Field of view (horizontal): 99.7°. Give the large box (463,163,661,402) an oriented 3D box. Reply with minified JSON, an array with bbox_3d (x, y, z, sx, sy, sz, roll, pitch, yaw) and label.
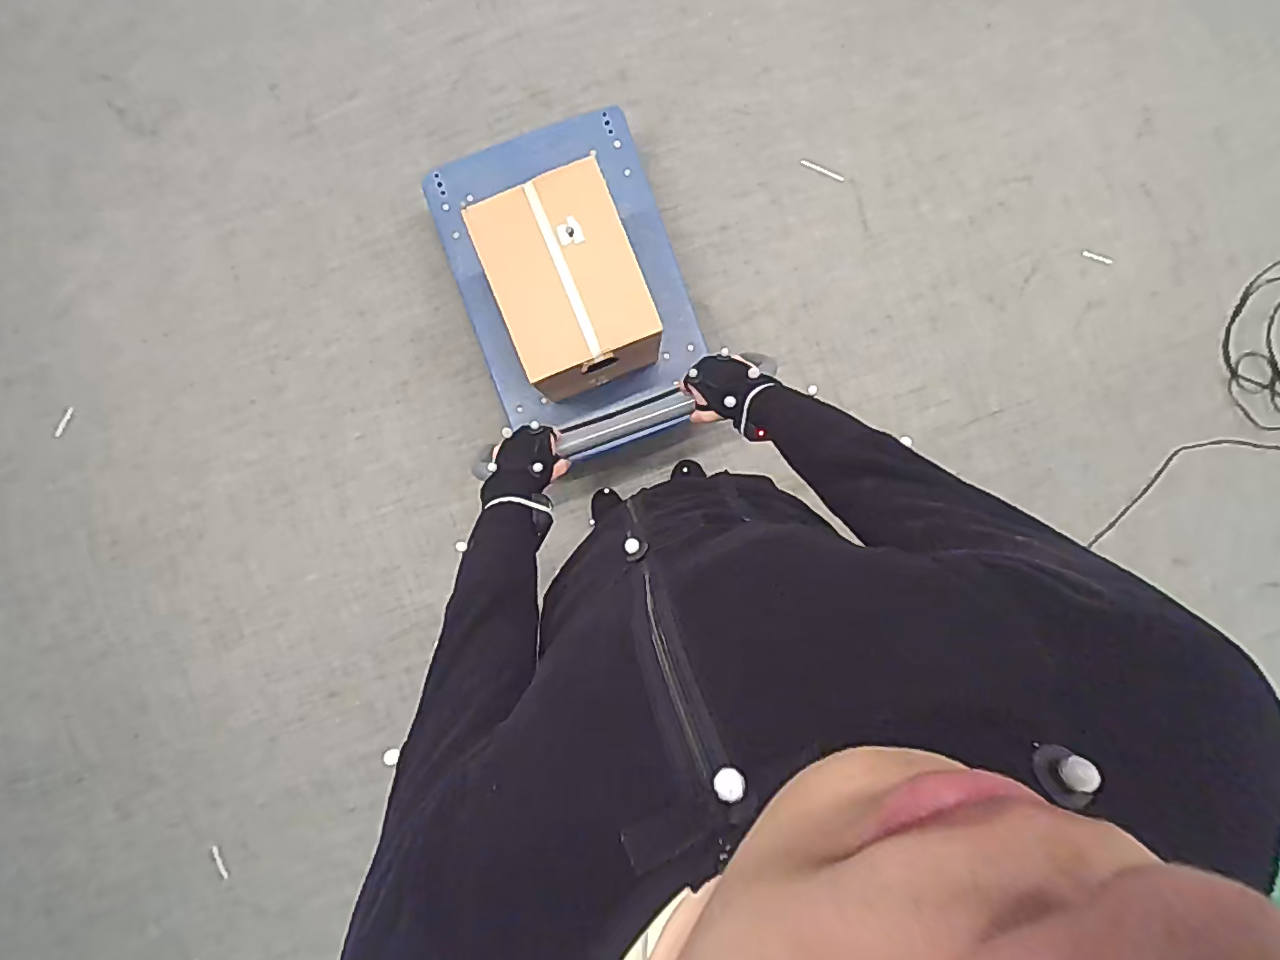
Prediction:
[{"bbox_3d":[-0.165,-0.448,1.319,0.320,0.320,0.408,-22,90,0],"label":"large box"}]
